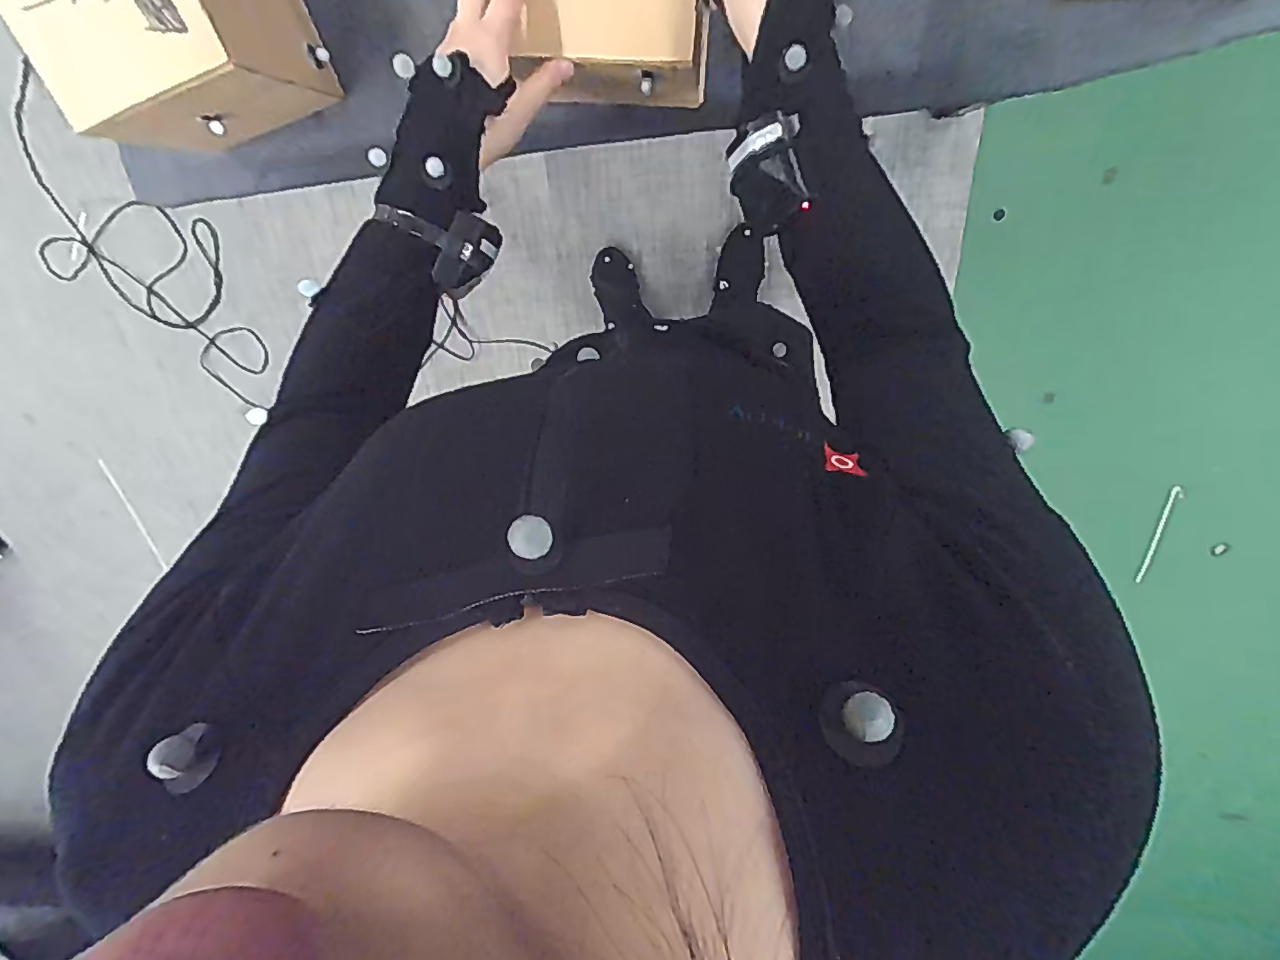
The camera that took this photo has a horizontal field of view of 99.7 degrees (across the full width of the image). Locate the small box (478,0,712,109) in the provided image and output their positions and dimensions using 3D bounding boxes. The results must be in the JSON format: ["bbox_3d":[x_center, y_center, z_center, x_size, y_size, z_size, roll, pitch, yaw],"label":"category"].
[{"bbox_3d":[-0.027,-0.431,0.462,0.179,0.176,0.168,5,116,5],"label":"small box"}]

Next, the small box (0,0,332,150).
[{"bbox_3d":[-0.428,-0.428,0.503,0.179,0.176,0.168,-12,115,12],"label":"small box"}]
